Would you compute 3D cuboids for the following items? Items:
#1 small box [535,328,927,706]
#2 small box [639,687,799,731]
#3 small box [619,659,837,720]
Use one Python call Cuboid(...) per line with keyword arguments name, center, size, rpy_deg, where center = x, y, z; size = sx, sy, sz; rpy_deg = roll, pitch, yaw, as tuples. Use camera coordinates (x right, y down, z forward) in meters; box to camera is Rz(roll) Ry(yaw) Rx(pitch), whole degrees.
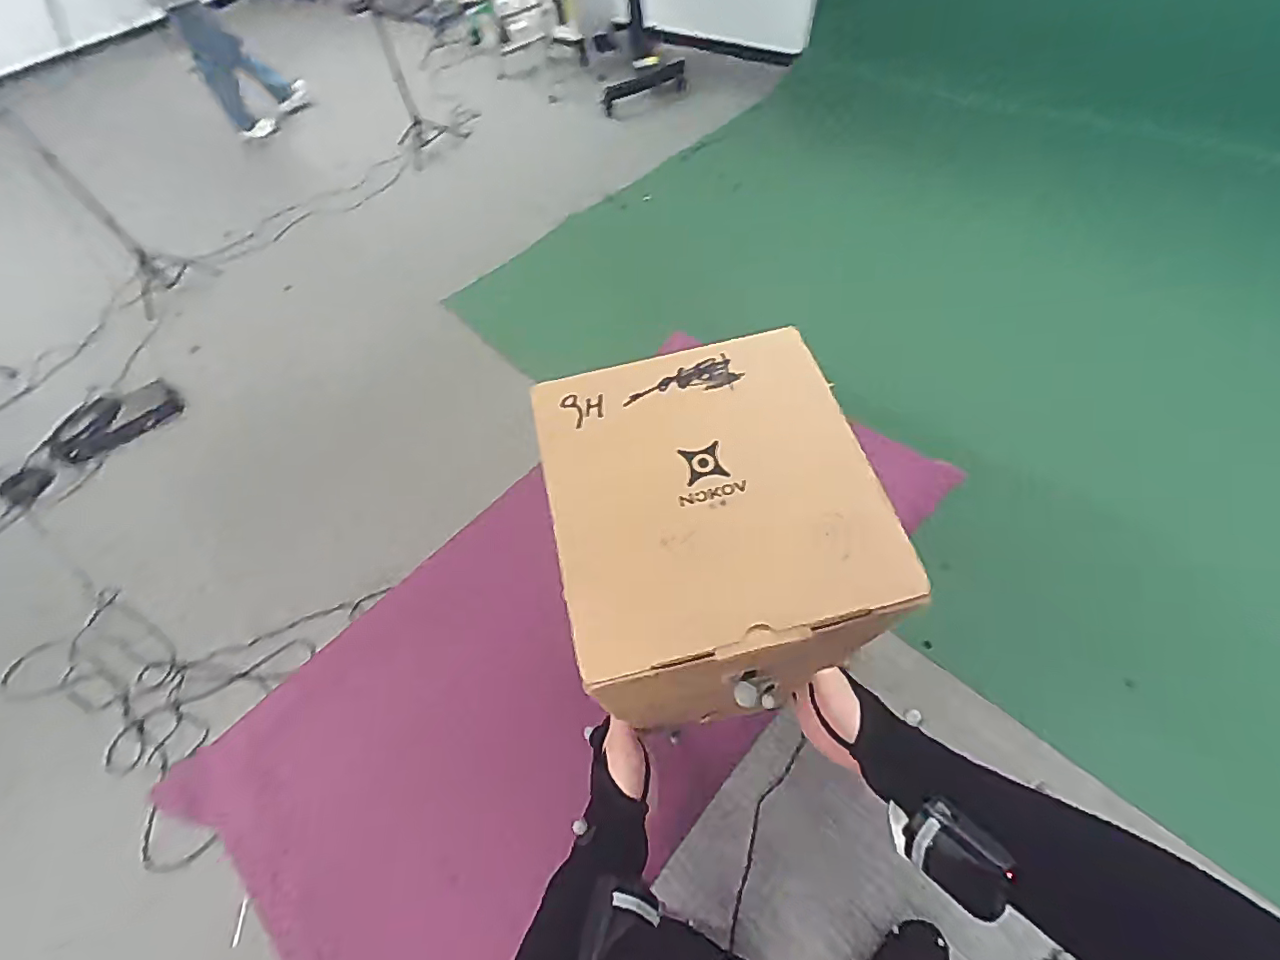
Cuboid(name="small box", center=(0.041, 0.038, 0.350), size=(0.168, 0.176, 0.179), rpy_deg=(-13, 62, -3))
Cuboid(name="small box", center=(0.071, 0.187, 0.639), size=(0.168, 0.176, 0.179), rpy_deg=(-14, 60, -2))
Cuboid(name="small box", center=(0.056, 0.111, 0.496), size=(0.168, 0.176, 0.179), rpy_deg=(-13, 61, -2))
